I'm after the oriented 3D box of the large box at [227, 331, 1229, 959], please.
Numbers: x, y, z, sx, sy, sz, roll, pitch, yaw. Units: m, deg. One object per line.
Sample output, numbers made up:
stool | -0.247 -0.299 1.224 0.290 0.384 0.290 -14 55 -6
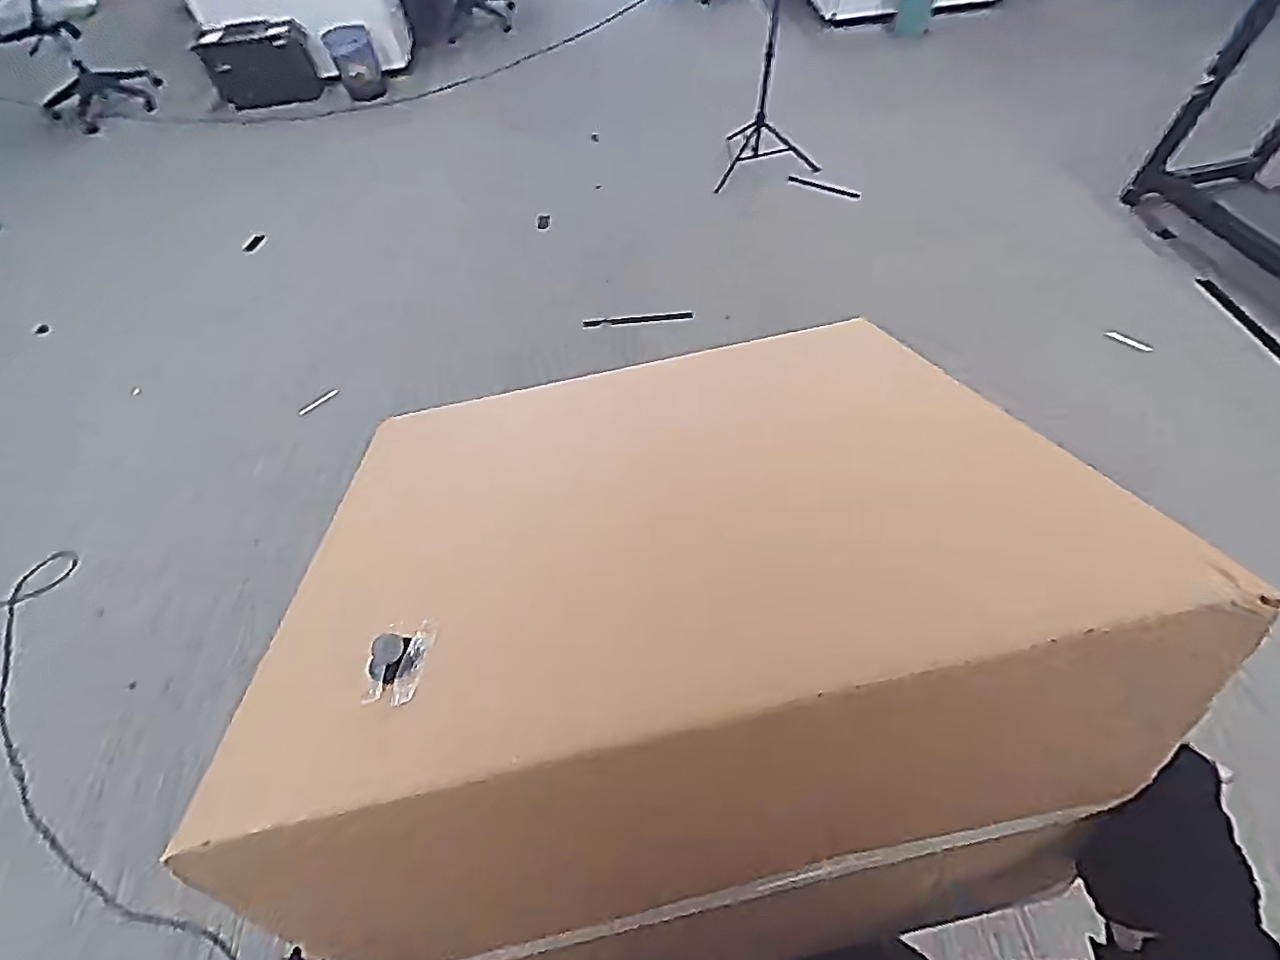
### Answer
large box | 0.039 0.120 0.410 0.408 0.320 0.320 -13 36 -1
